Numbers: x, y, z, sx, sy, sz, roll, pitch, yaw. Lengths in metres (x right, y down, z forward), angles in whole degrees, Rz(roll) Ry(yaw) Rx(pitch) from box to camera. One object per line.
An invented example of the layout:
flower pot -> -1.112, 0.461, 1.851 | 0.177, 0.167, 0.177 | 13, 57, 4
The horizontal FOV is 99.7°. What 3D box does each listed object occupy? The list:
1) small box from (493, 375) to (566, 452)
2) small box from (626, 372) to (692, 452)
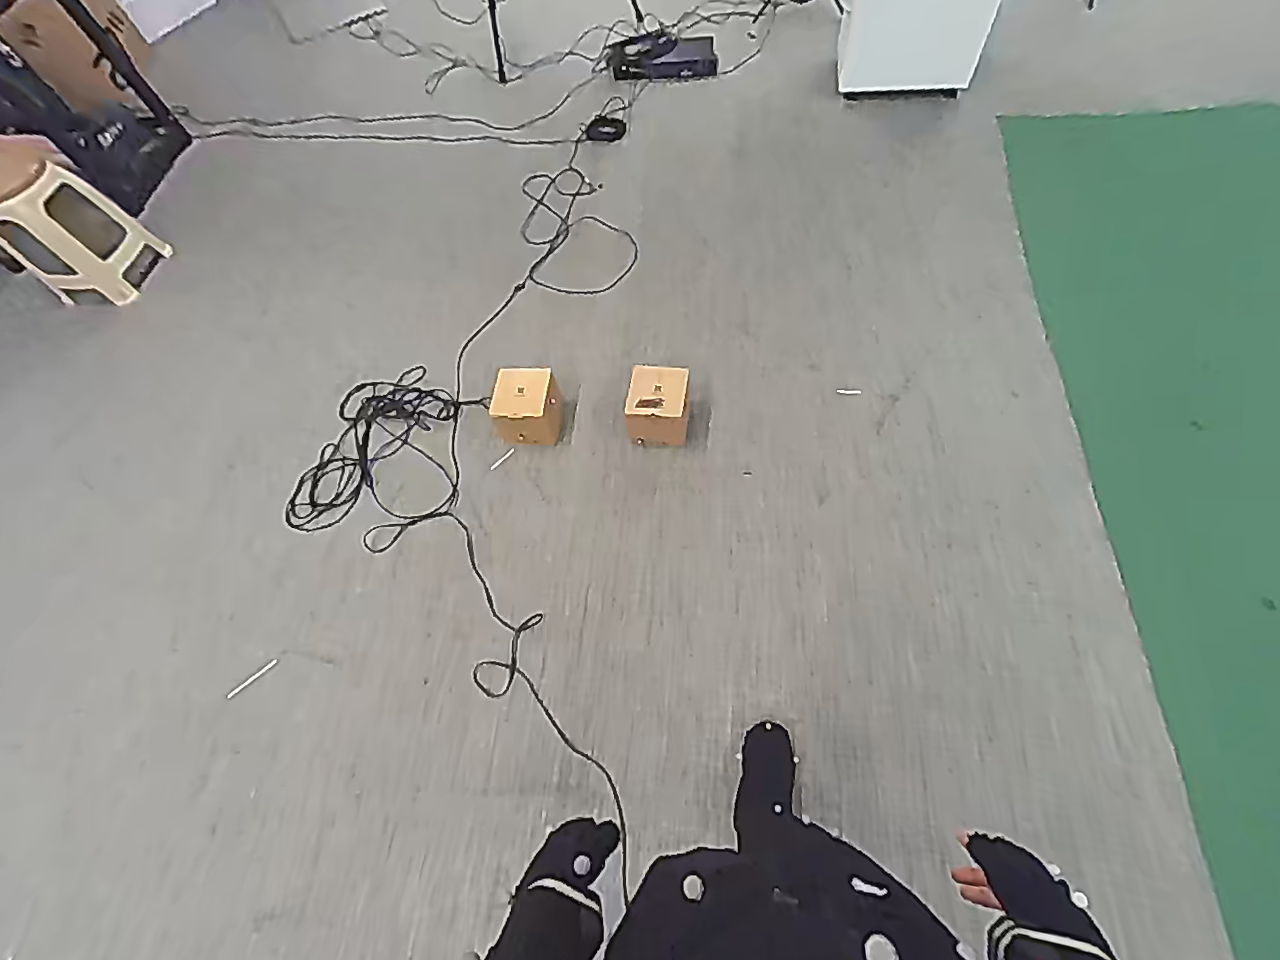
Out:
small box -> -0.335, -0.206, 1.676 | 0.168, 0.176, 0.179 | 1, 63, 8
small box -> 0.064, -0.199, 1.620 | 0.168, 0.176, 0.179 | 6, 63, 10
